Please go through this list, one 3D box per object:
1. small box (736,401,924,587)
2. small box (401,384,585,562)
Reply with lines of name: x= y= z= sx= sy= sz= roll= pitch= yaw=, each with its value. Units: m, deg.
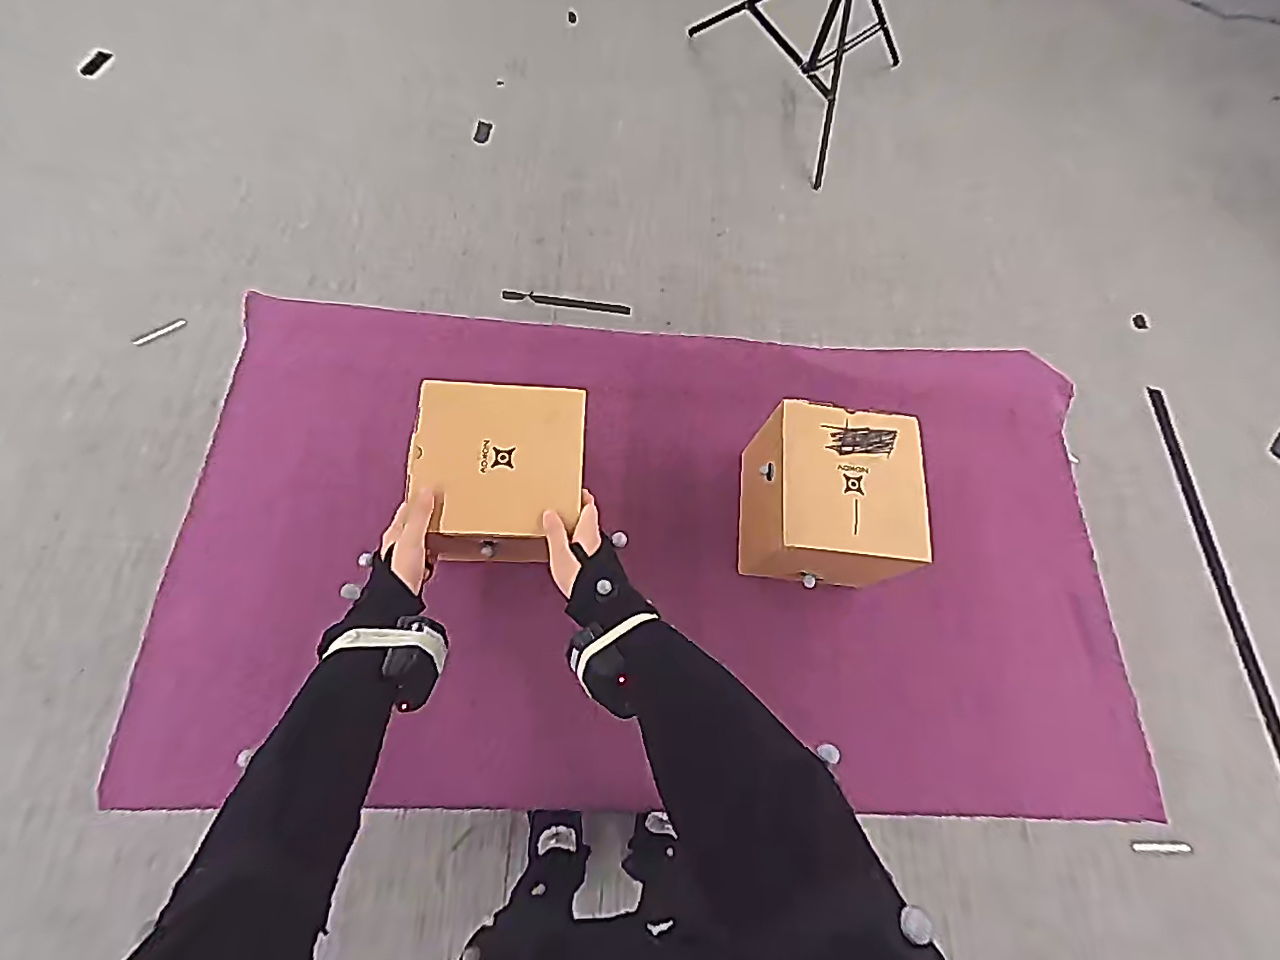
small box: x=0.222 y=0.026 z=0.676 sx=0.168 sy=0.176 sz=0.179 roll=7 pitch=70 yaw=-4
small box: x=-0.157 y=0.003 z=0.635 sx=0.179 sy=0.176 sz=0.168 roll=2 pitch=73 yaw=-6
